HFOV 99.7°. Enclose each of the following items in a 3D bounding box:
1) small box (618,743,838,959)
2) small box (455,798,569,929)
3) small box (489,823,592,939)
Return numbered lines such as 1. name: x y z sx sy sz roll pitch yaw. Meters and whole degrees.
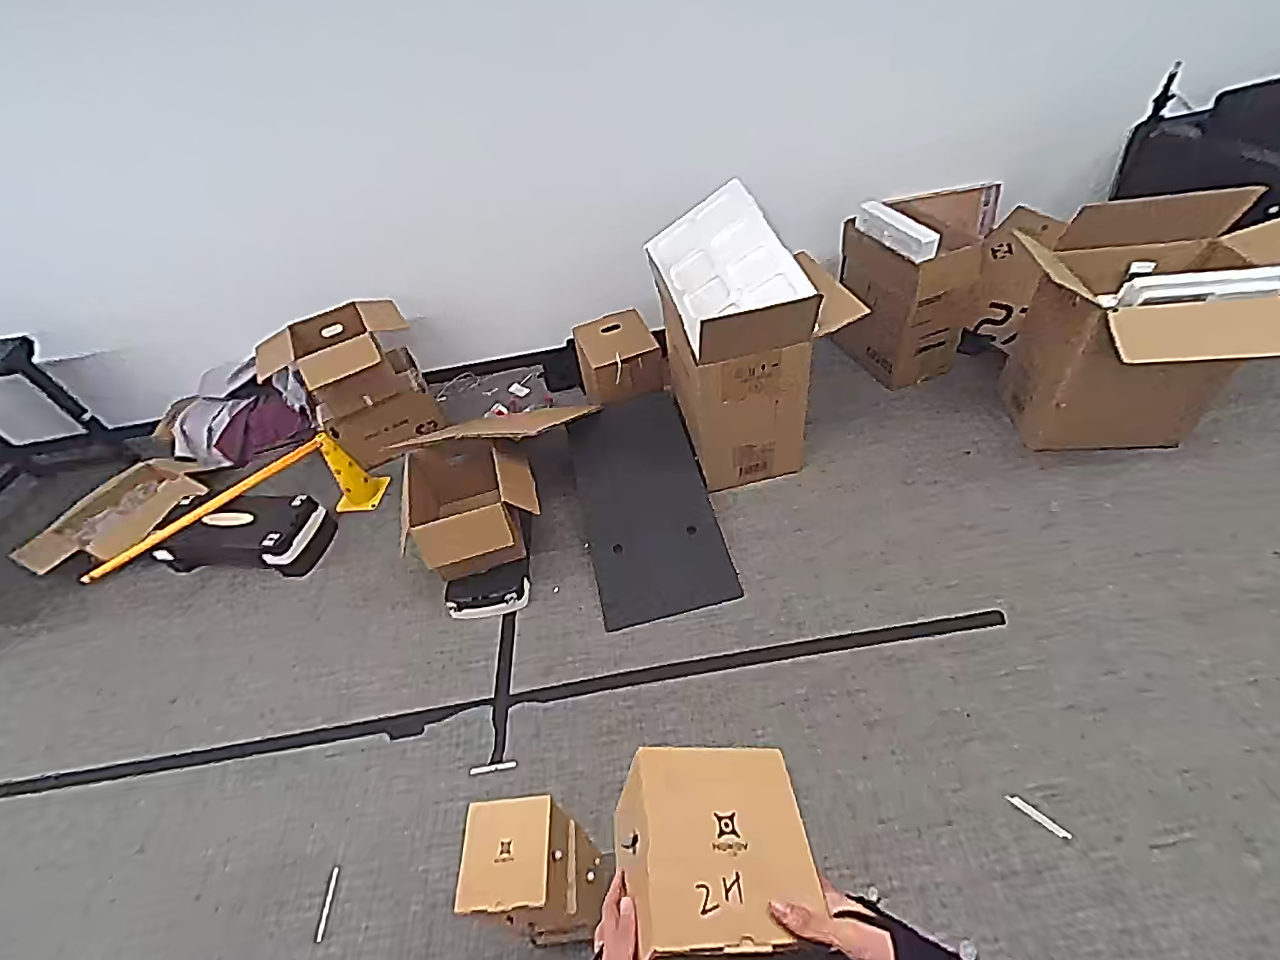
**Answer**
1. small box: 0.071 0.405 0.564 0.168 0.176 0.179 6 36 -9
2. small box: -0.237 0.746 1.050 0.168 0.176 0.179 -8 45 2
3. small box: -0.206 0.862 1.160 0.179 0.176 0.168 -9 45 1
